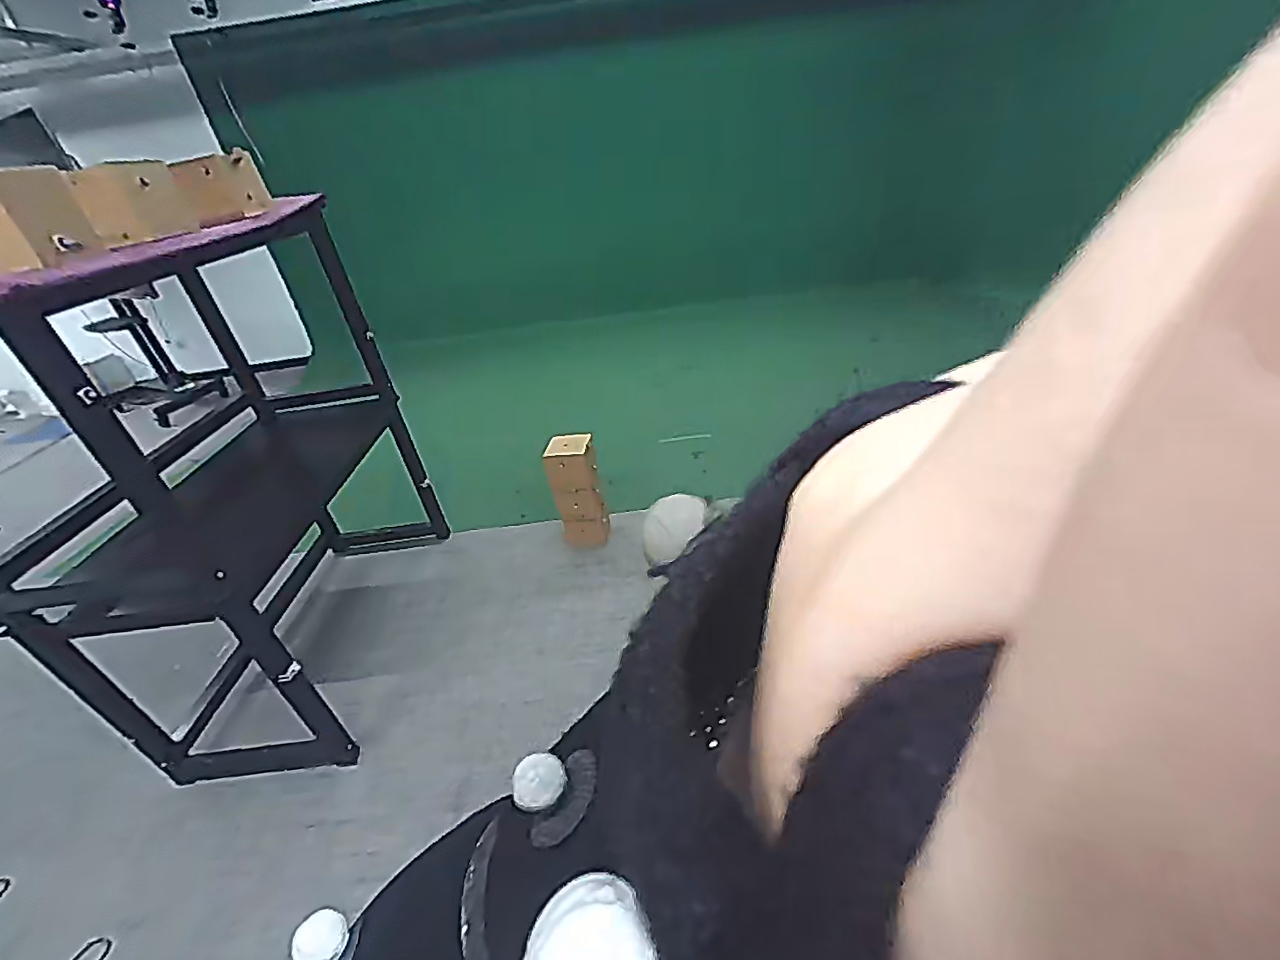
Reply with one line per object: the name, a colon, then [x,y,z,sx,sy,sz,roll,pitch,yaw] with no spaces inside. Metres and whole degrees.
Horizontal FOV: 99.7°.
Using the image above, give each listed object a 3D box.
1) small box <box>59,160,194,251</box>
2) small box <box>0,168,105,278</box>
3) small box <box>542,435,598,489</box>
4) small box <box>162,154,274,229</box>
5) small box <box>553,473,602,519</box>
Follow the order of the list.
small box: [-1.261,-0.671,1.327,0.168,0.176,0.179,-8,32,4]
small box: [-1.212,-0.487,1.033,0.179,0.176,0.168,-8,33,-1]
small box: [-0.288,-0.074,2.261,0.179,0.176,0.168,-3,34,11]
small box: [-1.266,-0.867,1.629,0.179,0.176,0.168,-8,34,6]
small box: [-0.266,0.057,2.361,0.168,0.176,0.179,-4,34,8]
